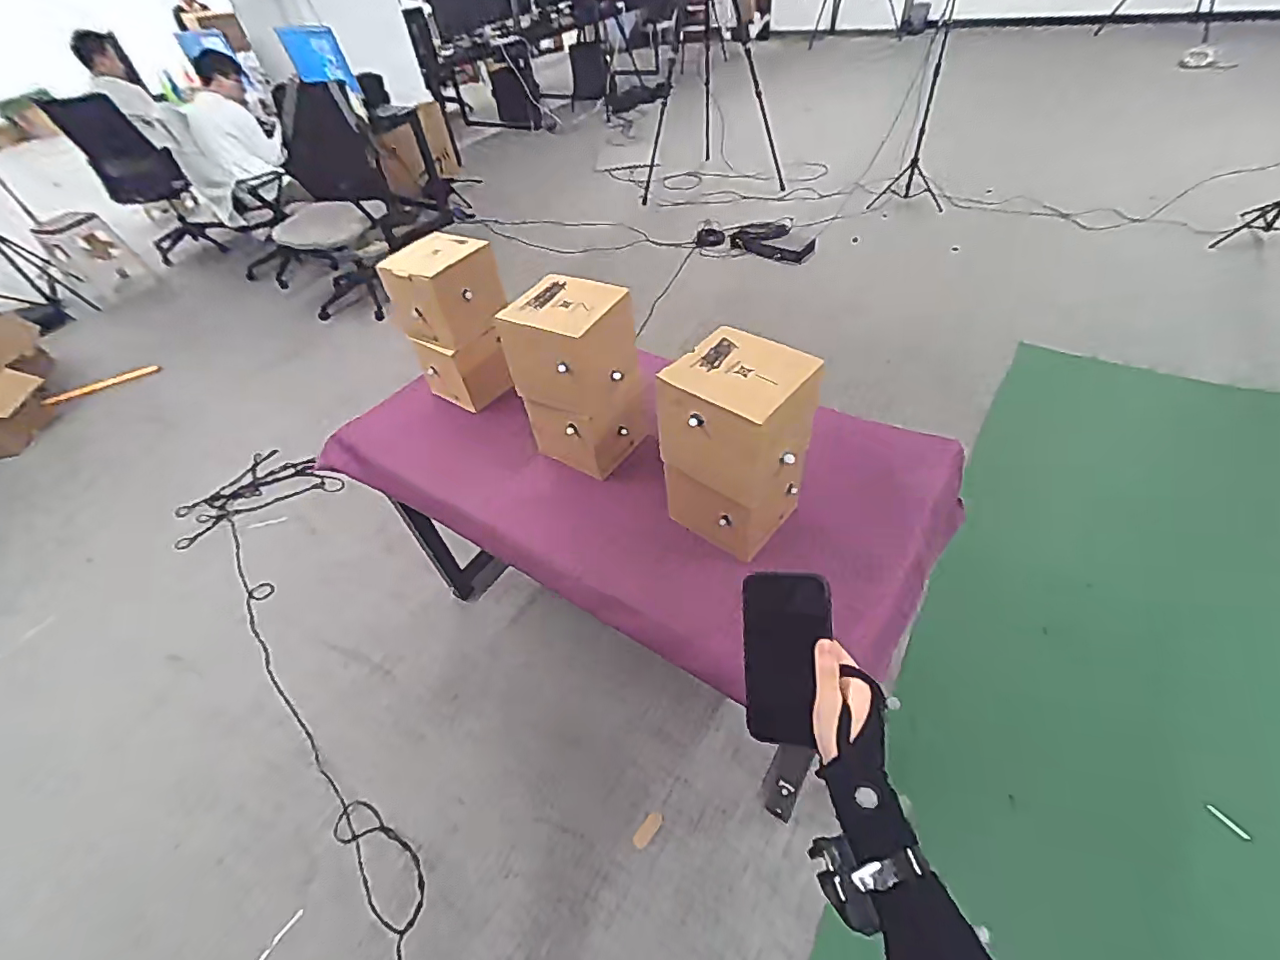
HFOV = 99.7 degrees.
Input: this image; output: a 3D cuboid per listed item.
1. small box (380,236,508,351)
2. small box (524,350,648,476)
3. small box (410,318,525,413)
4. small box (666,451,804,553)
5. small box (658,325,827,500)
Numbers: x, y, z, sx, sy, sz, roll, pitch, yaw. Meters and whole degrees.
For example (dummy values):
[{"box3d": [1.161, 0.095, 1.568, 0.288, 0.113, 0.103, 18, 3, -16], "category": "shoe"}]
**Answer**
[{"box3d": [-0.415, -0.405, 1.179, 0.168, 0.176, 0.179, 21, 53, 25], "category": "small box"}, {"box3d": [-0.100, -0.133, 1.098, 0.179, 0.176, 0.168, 24, 54, 28], "category": "small box"}, {"box3d": [-0.402, -0.286, 1.292, 0.168, 0.176, 0.179, 25, 54, 28], "category": "small box"}, {"box3d": [0.167, 0.000, 0.932, 0.179, 0.176, 0.168, 30, 57, 32], "category": "small box"}, {"box3d": [0.147, -0.100, 0.803, 0.179, 0.176, 0.168, 30, 57, 31], "category": "small box"}]
